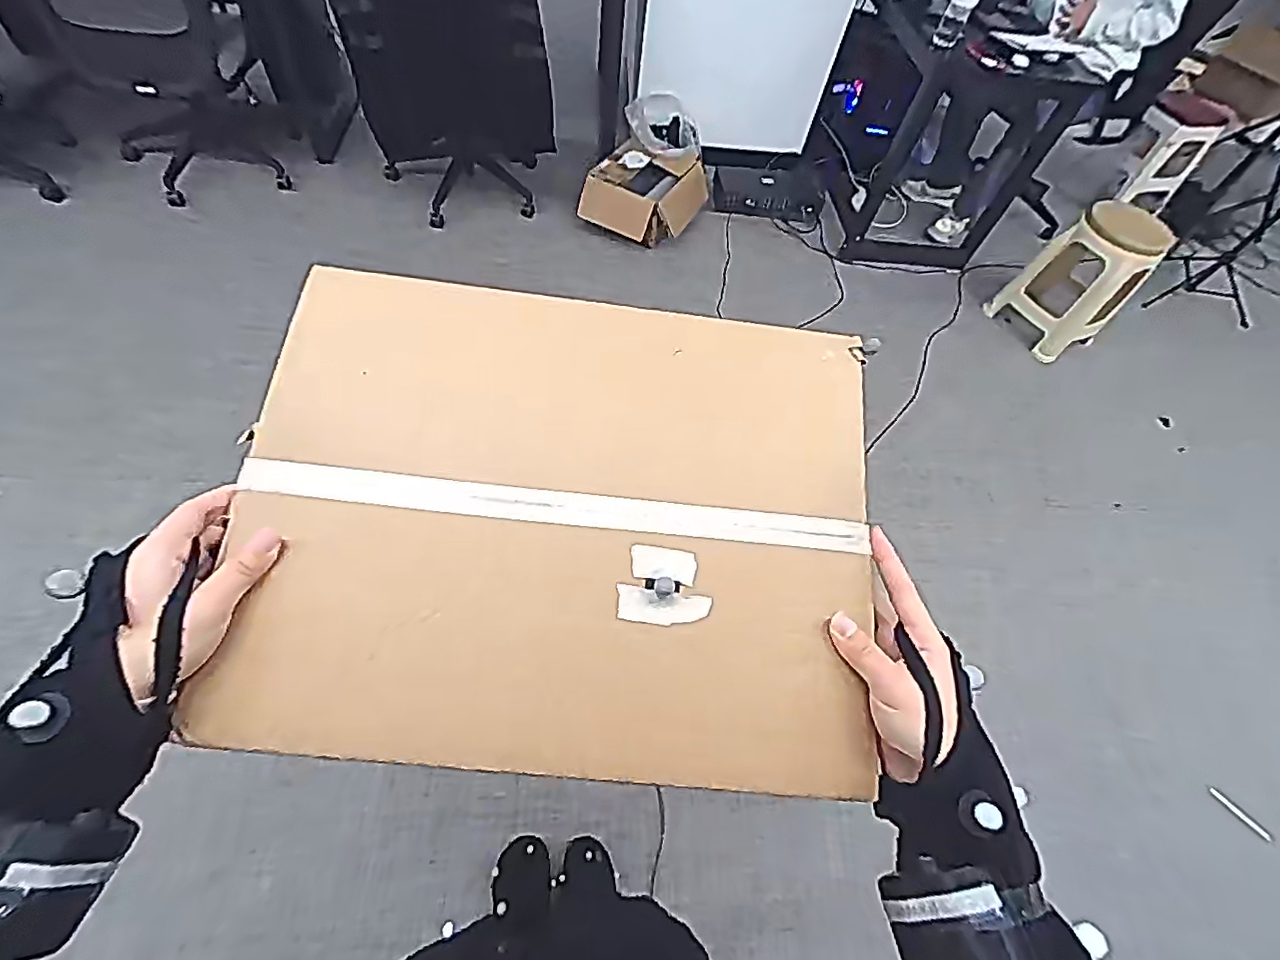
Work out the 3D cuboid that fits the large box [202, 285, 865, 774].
[{"bbox_3d":[-0.060,0.061,0.508,0.408,0.320,0.320,7,73,-4],"label":"large box"}]
